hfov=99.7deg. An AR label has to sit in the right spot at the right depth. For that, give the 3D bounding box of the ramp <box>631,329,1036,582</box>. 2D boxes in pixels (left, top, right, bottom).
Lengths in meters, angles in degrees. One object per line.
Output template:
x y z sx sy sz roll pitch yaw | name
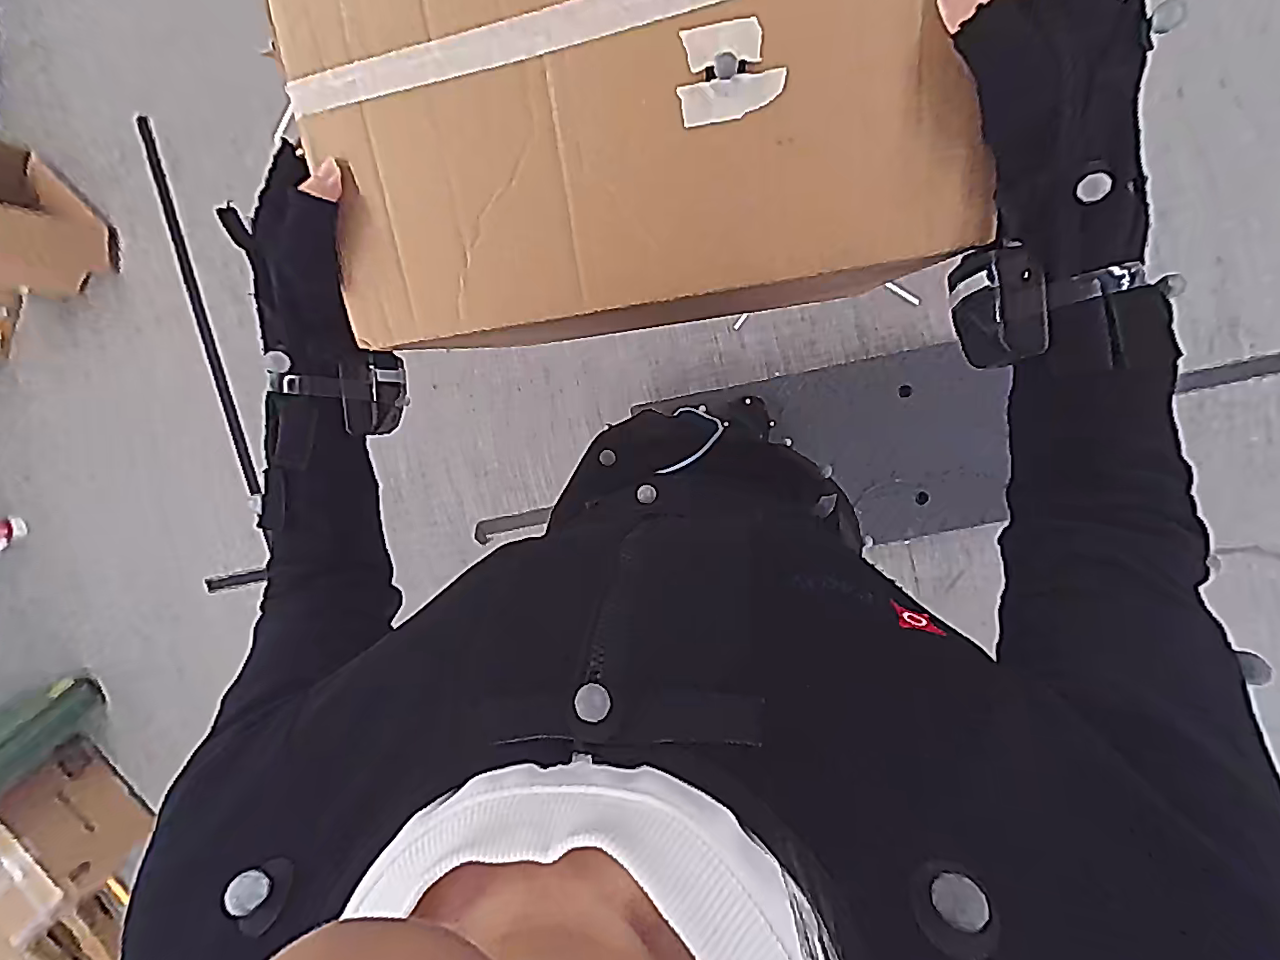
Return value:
0.507 -0.060 1.429 0.991 0.206 0.509 -12 93 12 | ramp

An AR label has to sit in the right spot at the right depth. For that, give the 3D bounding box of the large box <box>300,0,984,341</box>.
0.006 -0.306 0.463 0.408 0.320 0.320 -6 104 10 | large box
